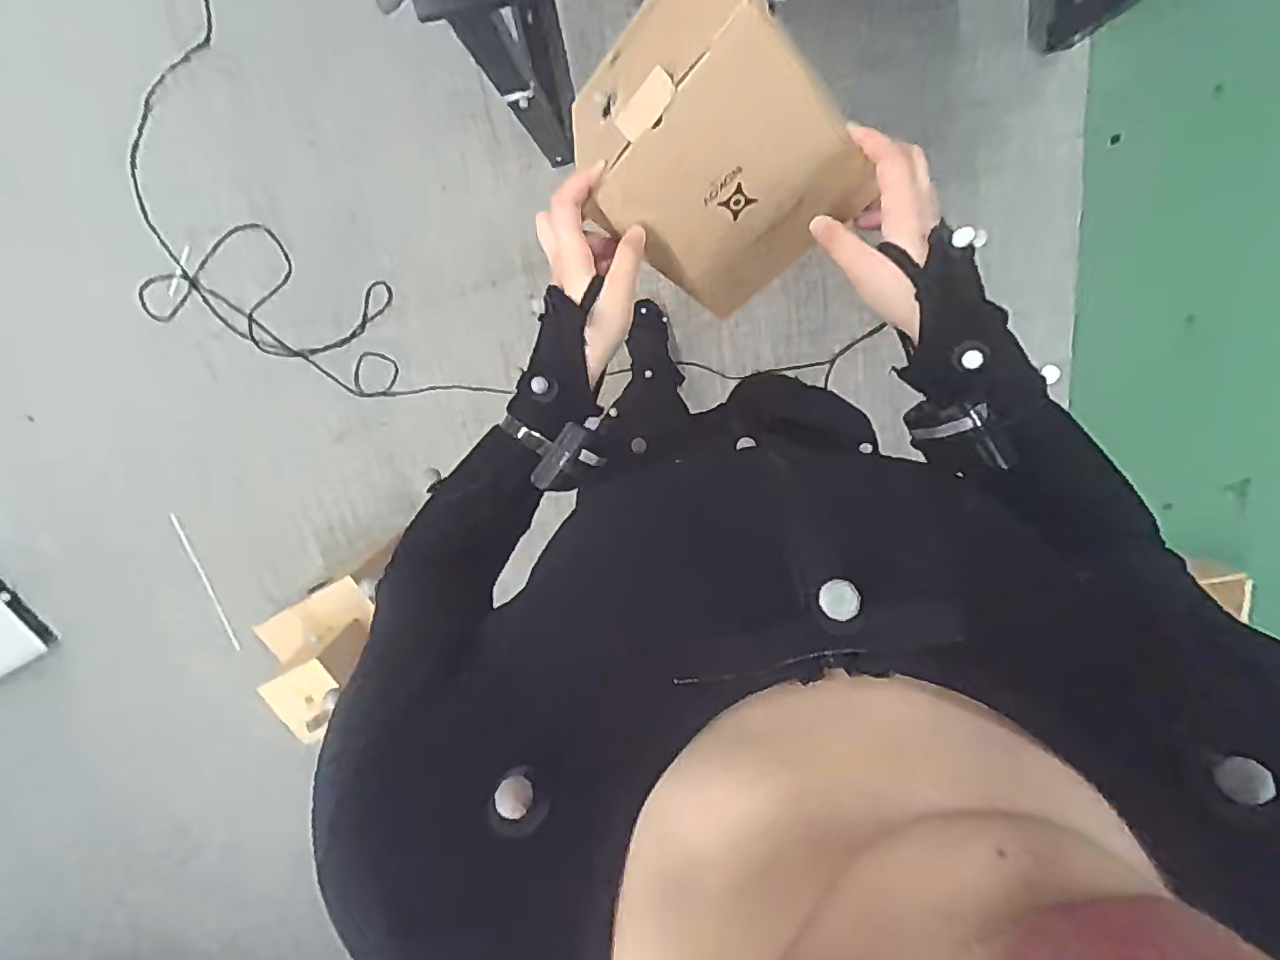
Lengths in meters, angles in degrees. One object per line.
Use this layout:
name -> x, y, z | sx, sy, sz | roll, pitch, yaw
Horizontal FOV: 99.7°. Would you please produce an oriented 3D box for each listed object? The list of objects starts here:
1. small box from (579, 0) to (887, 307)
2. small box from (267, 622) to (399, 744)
small box -> 0.063, -0.288, 0.445 | 0.179, 0.176, 0.168 | 21, 141, -37
small box -> -0.708, 0.470, 1.272 | 0.168, 0.176, 0.179 | -28, 104, 8
